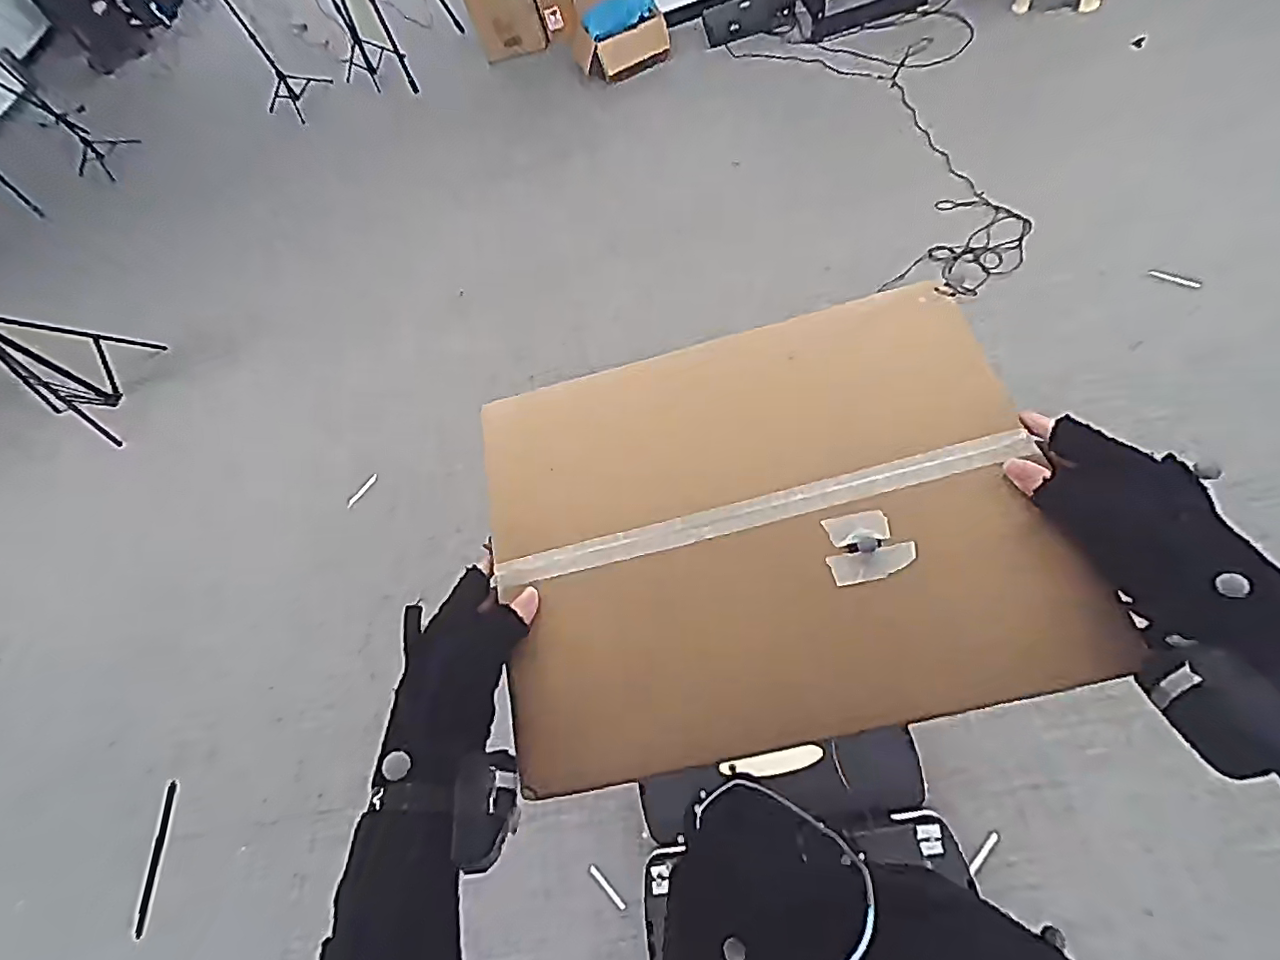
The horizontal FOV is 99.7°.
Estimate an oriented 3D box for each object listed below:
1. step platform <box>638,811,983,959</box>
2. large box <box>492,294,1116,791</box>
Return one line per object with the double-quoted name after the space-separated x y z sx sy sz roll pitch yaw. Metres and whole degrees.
0.338 0.932 1.165 0.684 0.204 0.286 -15 60 9 "step platform"
0.111 0.082 0.556 0.408 0.320 0.320 -15 68 5 "large box"
